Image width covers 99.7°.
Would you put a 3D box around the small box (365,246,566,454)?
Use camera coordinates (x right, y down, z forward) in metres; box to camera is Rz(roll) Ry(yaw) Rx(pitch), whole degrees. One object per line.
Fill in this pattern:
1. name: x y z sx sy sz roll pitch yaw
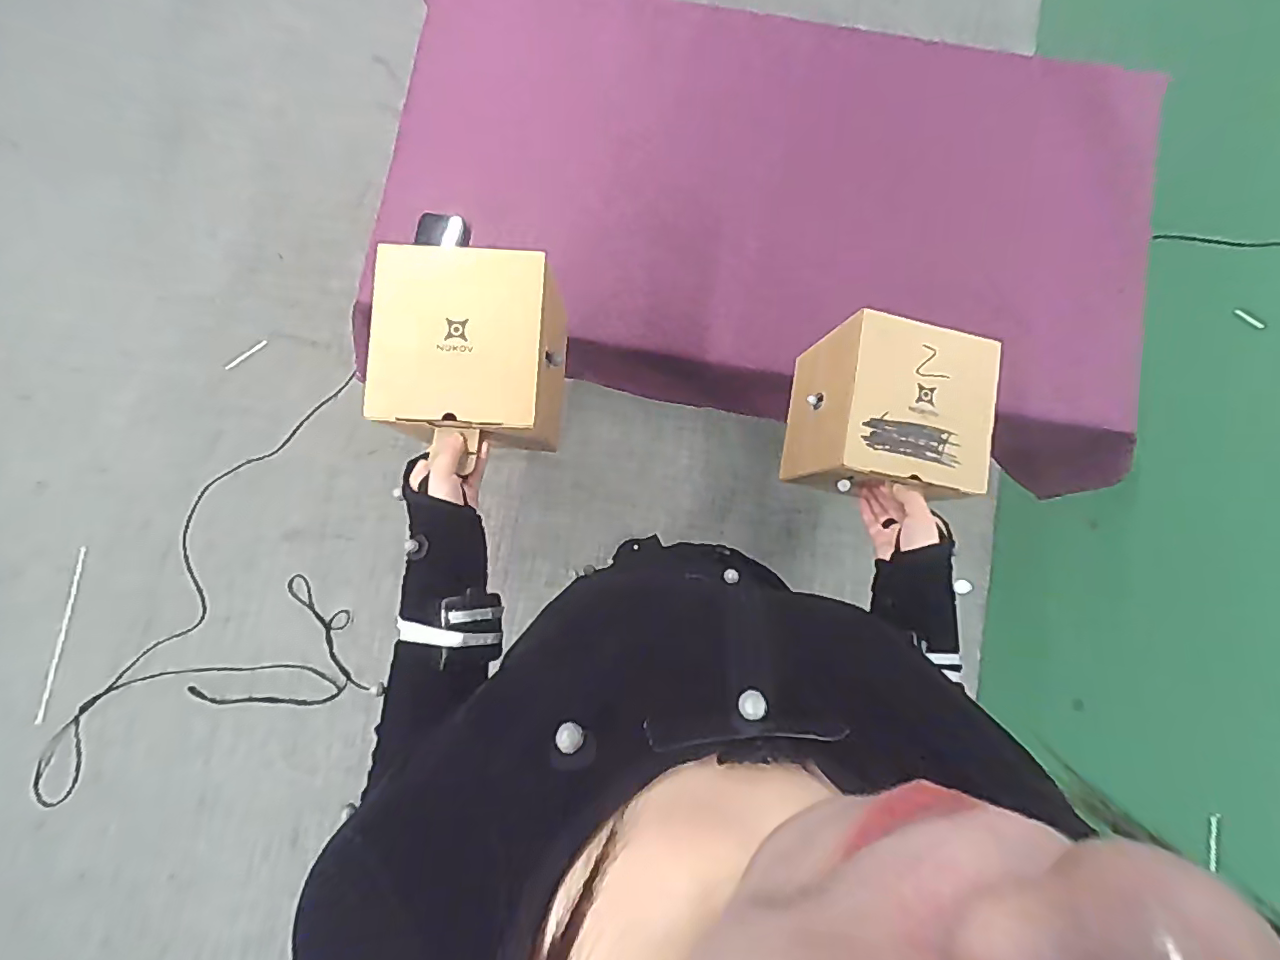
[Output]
1. small box: -0.176 -0.130 0.598 0.168 0.176 0.179 3 86 -1
